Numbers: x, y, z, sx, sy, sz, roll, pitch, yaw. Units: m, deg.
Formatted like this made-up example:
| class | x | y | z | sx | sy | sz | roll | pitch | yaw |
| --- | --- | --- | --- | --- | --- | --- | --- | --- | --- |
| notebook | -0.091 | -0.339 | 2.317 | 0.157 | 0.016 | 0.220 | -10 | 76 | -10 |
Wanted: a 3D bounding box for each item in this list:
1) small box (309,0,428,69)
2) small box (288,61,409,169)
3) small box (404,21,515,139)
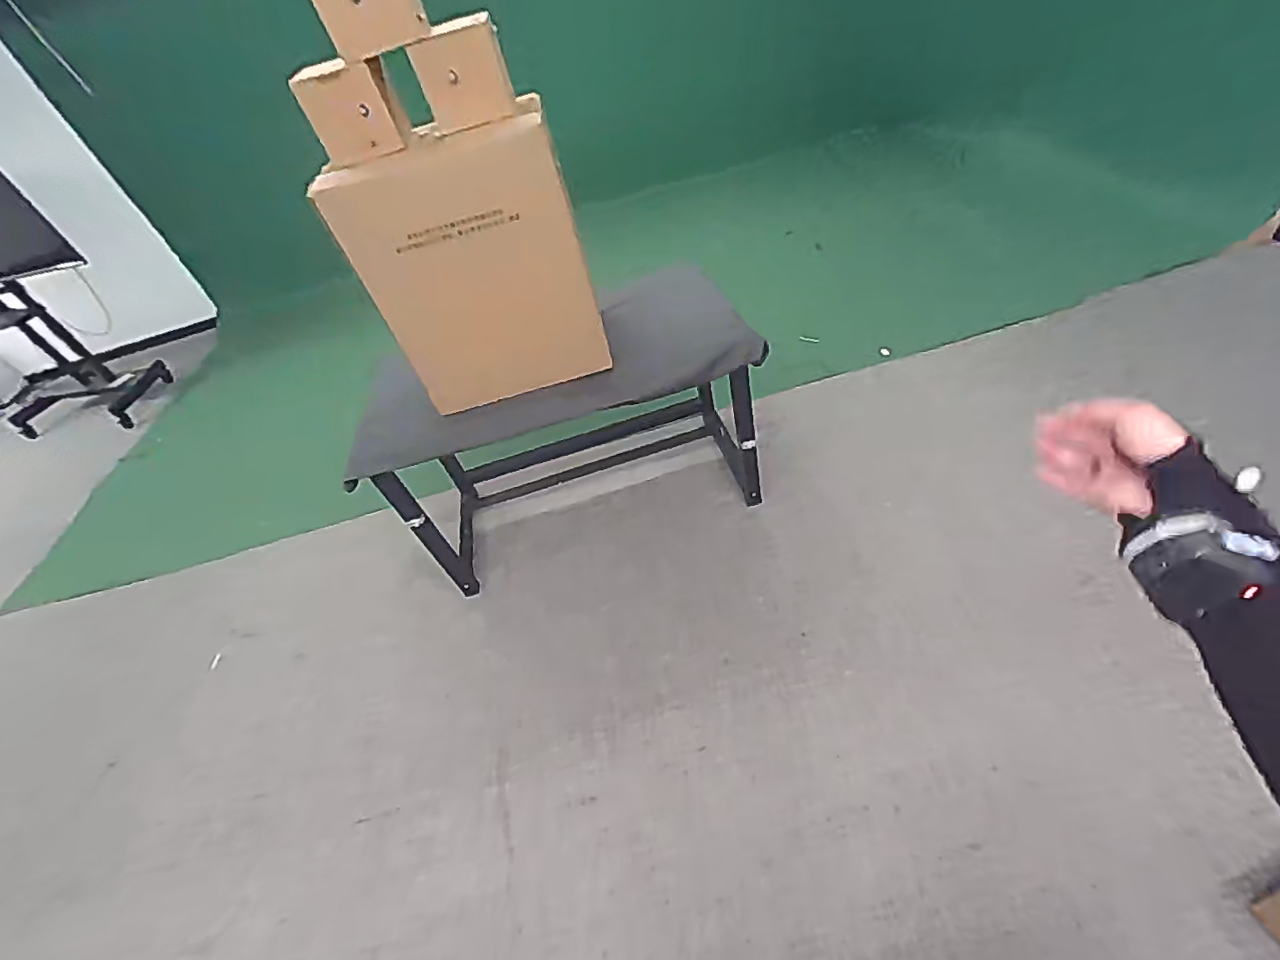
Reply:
| class | x | y | z | sx | sy | sz | roll | pitch | yaw |
| --- | --- | --- | --- | --- | --- | --- | --- | --- | --- |
| small box | -0.553 | -0.969 | 1.098 | 0.179 | 0.176 | 0.168 | -17 | 45 | 1 |
| small box | -0.642 | -0.823 | 1.217 | 0.168 | 0.176 | 0.179 | -15 | 44 | -1 |
| small box | -0.396 | -0.894 | 1.214 | 0.179 | 0.176 | 0.168 | -15 | 46 | 2 |
